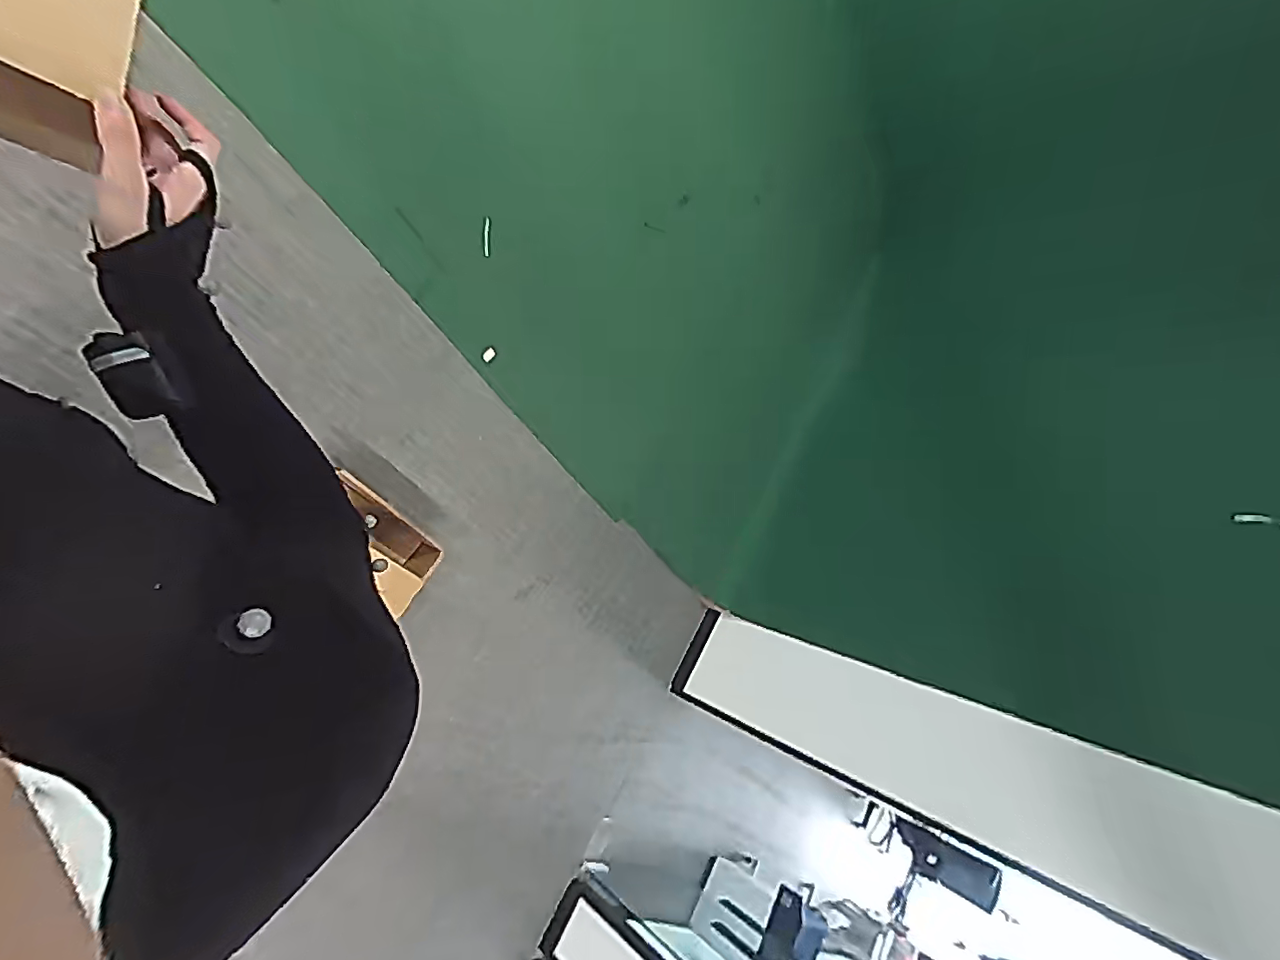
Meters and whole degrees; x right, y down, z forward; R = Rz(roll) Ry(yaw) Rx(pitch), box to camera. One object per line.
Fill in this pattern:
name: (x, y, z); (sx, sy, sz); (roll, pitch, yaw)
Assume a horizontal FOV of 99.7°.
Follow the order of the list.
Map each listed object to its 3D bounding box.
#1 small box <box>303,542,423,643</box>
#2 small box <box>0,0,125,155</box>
small box: (-0.681, 0.267, 1.324); (0.168, 0.176, 0.179); (-57, 132, -20)
small box: (-0.483, -0.363, 0.373); (0.179, 0.176, 0.168); (11, 88, -50)
